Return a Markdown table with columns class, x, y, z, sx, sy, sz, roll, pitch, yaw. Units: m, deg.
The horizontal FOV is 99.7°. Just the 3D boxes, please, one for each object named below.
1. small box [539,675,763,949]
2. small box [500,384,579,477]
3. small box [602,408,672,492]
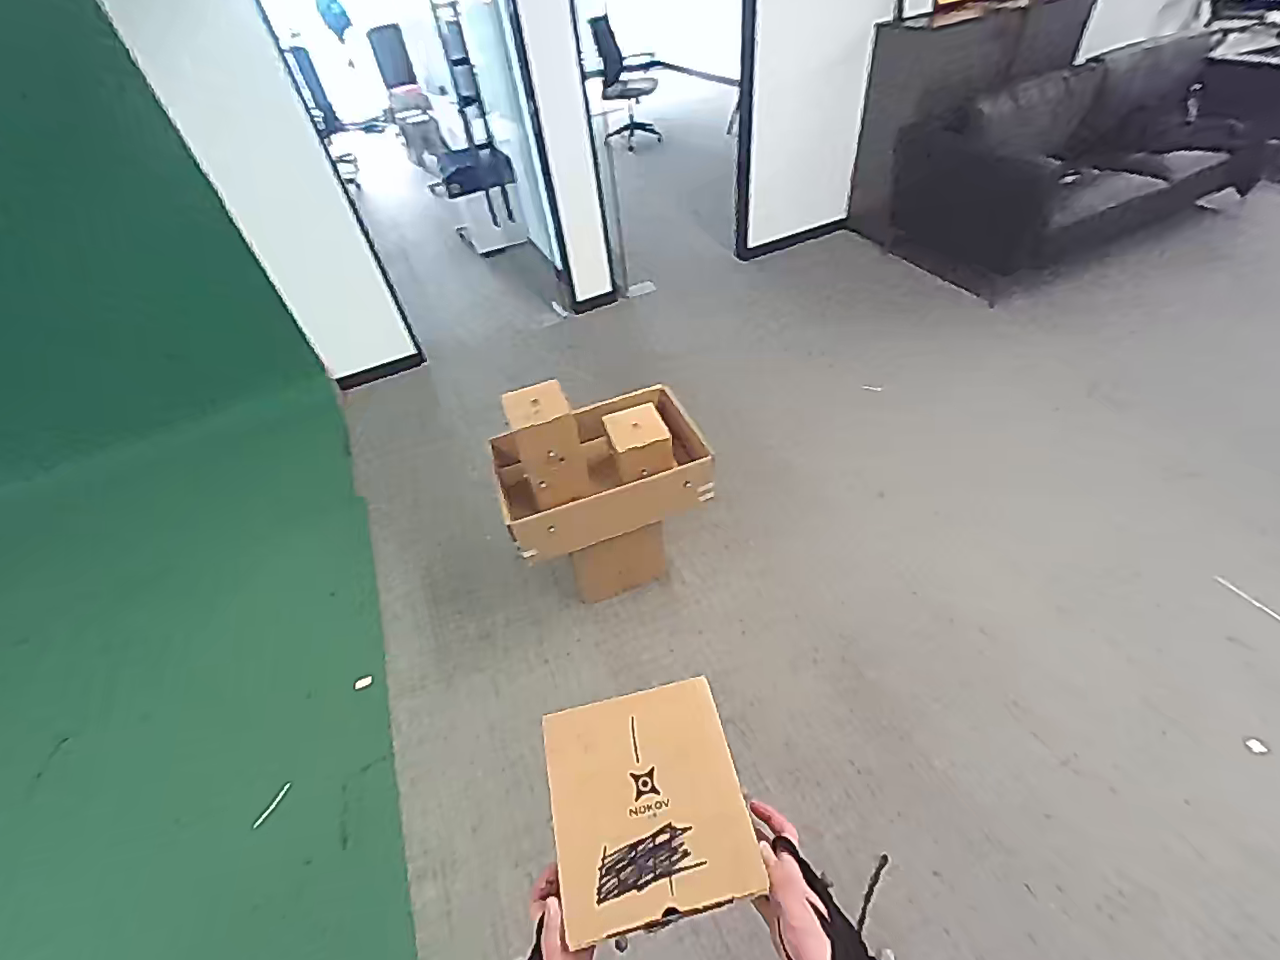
| class | x | y | z | sx | sy | sz | roll | pitch | yaw |
| --- | --- | --- | --- | --- | --- | --- | --- | --- | --- |
| small box | 0.005 | 0.317 | 0.523 | 0.168 | 0.176 | 0.179 | -11 | 51 | -6 |
| small box | -0.281 | -0.138 | 1.524 | 0.168 | 0.176 | 0.179 | -19 | 46 | -10 |
| small box | -0.009 | -0.091 | 1.673 | 0.168 | 0.176 | 0.179 | -18 | 47 | -9 |
